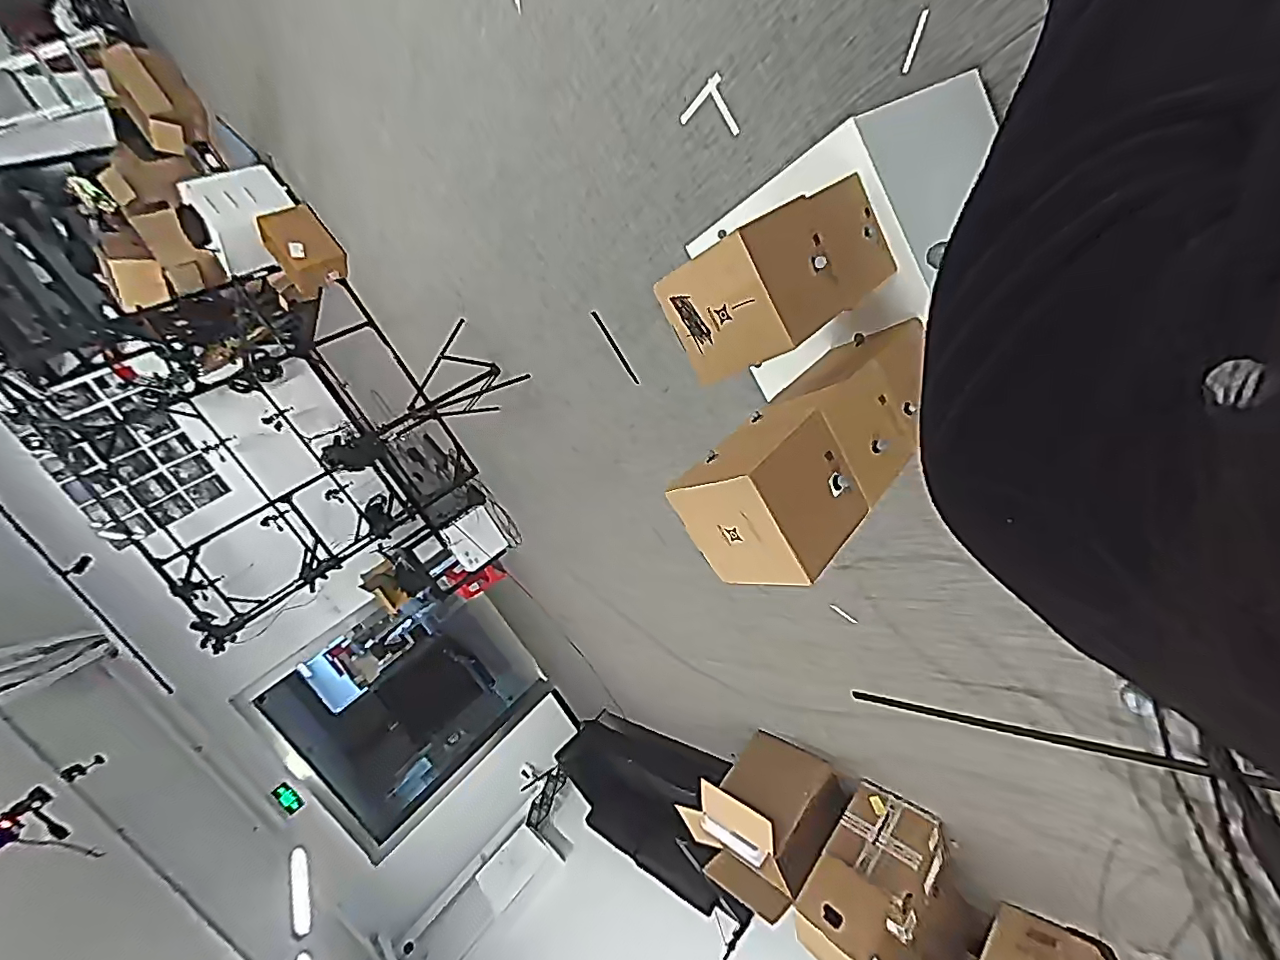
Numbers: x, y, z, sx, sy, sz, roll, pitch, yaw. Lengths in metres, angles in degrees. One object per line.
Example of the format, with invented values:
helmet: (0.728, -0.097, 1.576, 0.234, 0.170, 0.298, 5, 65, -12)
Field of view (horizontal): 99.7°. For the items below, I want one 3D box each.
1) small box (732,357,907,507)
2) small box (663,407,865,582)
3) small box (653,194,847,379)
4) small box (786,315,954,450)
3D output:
small box: (0.282, -0.065, 0.832, 0.179, 0.176, 0.168, -14, 111, 57)
small box: (0.172, 0.022, 0.749, 0.168, 0.176, 0.179, 57, 148, -12)
small box: (0.158, -0.271, 0.771, 0.179, 0.176, 0.168, -11, 115, 54)
small box: (0.390, -0.152, 0.918, 0.179, 0.176, 0.168, -11, 113, 57)
